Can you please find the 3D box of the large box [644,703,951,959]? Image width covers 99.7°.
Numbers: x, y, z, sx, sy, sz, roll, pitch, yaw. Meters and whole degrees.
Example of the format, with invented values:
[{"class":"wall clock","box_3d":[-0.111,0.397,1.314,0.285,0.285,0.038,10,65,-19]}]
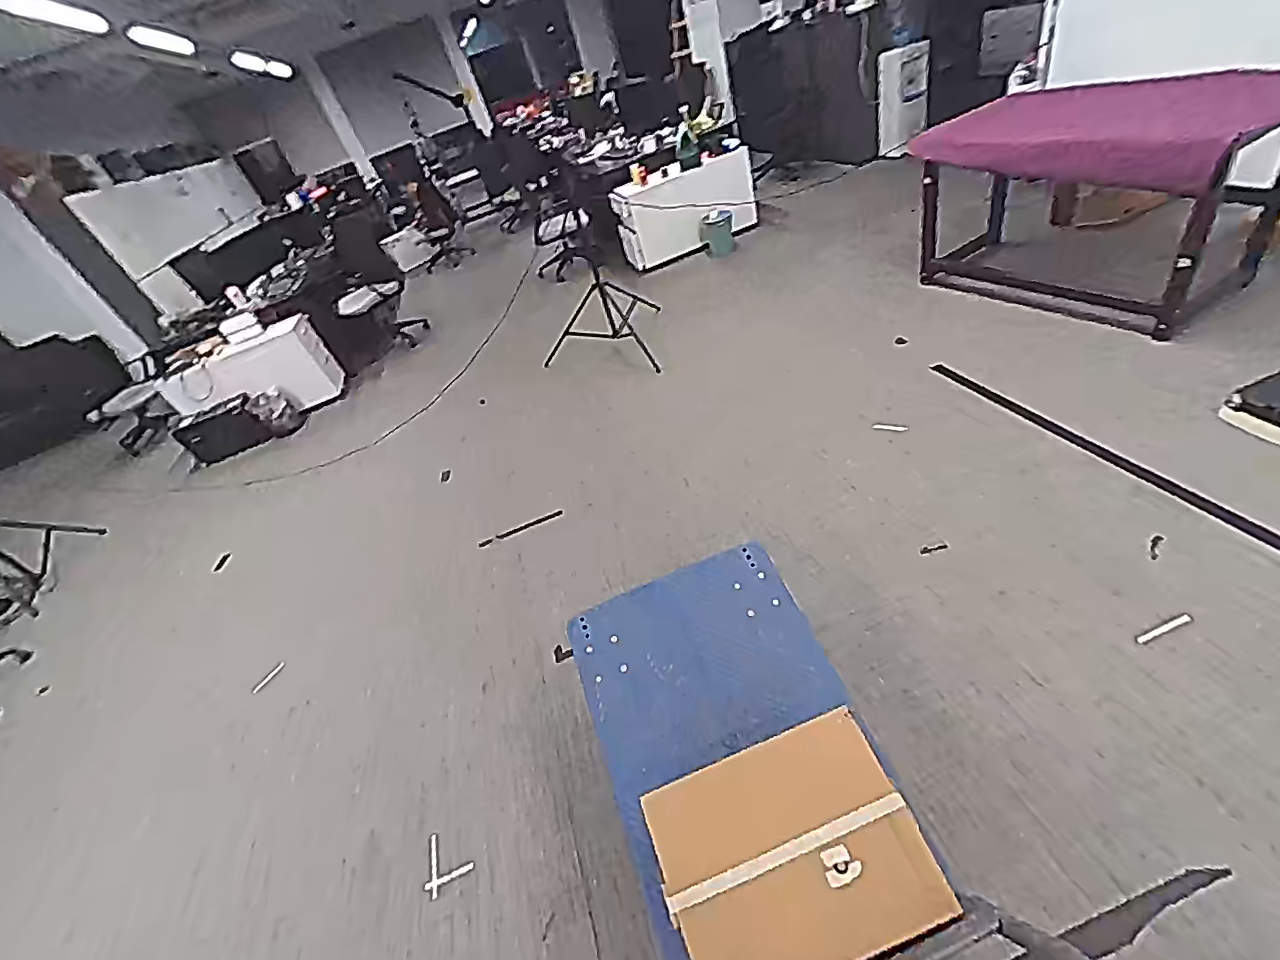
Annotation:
[{"class":"large box","box_3d":[0.263,0.678,1.007,0.408,0.320,0.320,-23,57,-4]}]
